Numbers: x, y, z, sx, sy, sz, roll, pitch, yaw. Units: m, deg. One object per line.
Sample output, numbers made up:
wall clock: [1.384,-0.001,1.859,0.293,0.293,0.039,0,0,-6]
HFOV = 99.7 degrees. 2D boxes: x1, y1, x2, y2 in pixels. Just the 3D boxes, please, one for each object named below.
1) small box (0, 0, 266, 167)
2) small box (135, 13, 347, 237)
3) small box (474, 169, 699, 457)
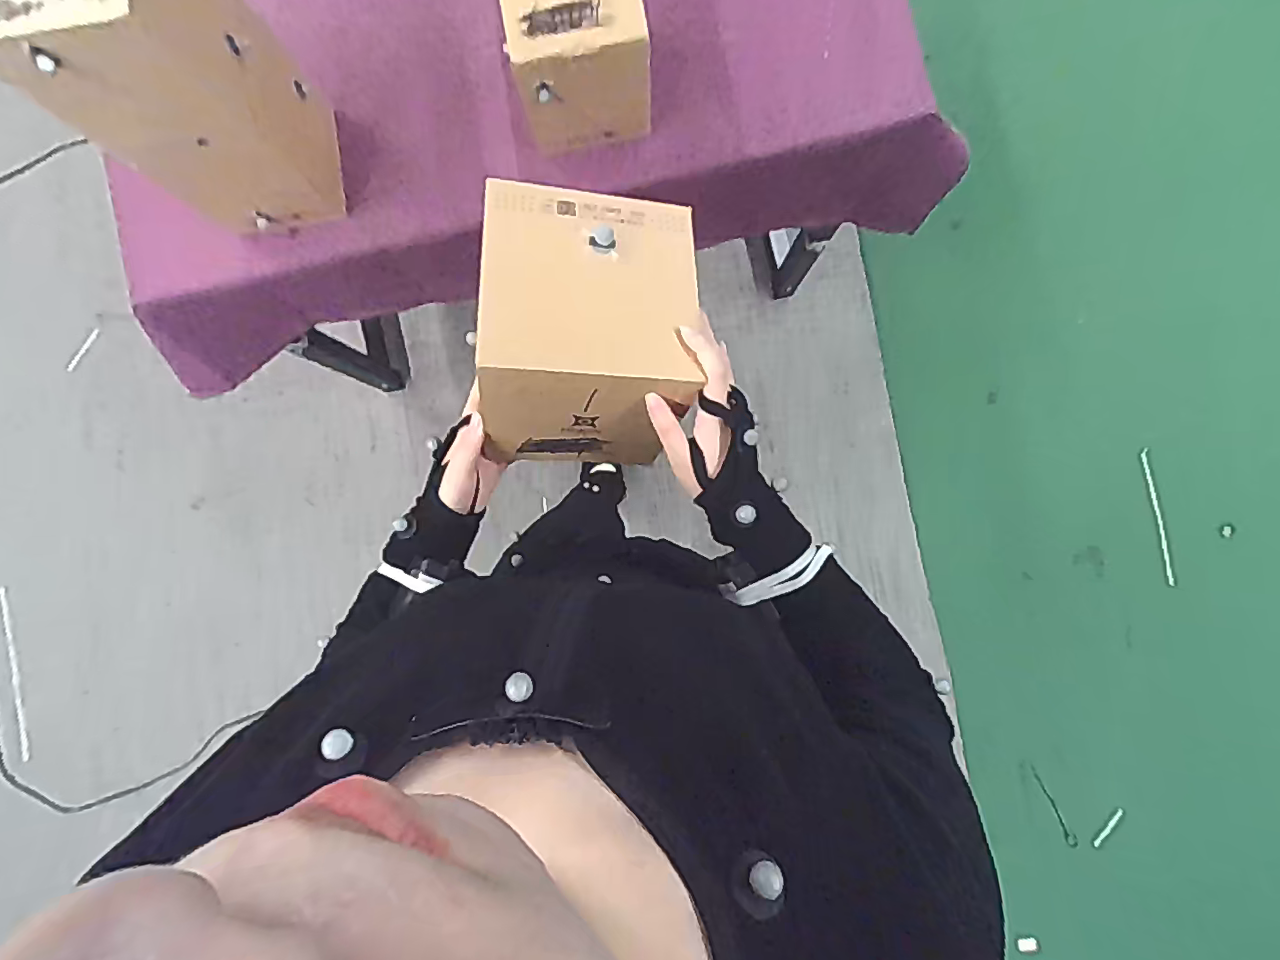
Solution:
small box: [-0.523,-0.463,0.553,0.168,0.176,0.179,-9,86,2]
small box: [-0.520,-0.456,0.718,0.168,0.176,0.179,-8,88,1]
small box: [-0.055,-0.133,0.484,0.168,0.179,0.176,2,70,-13]
